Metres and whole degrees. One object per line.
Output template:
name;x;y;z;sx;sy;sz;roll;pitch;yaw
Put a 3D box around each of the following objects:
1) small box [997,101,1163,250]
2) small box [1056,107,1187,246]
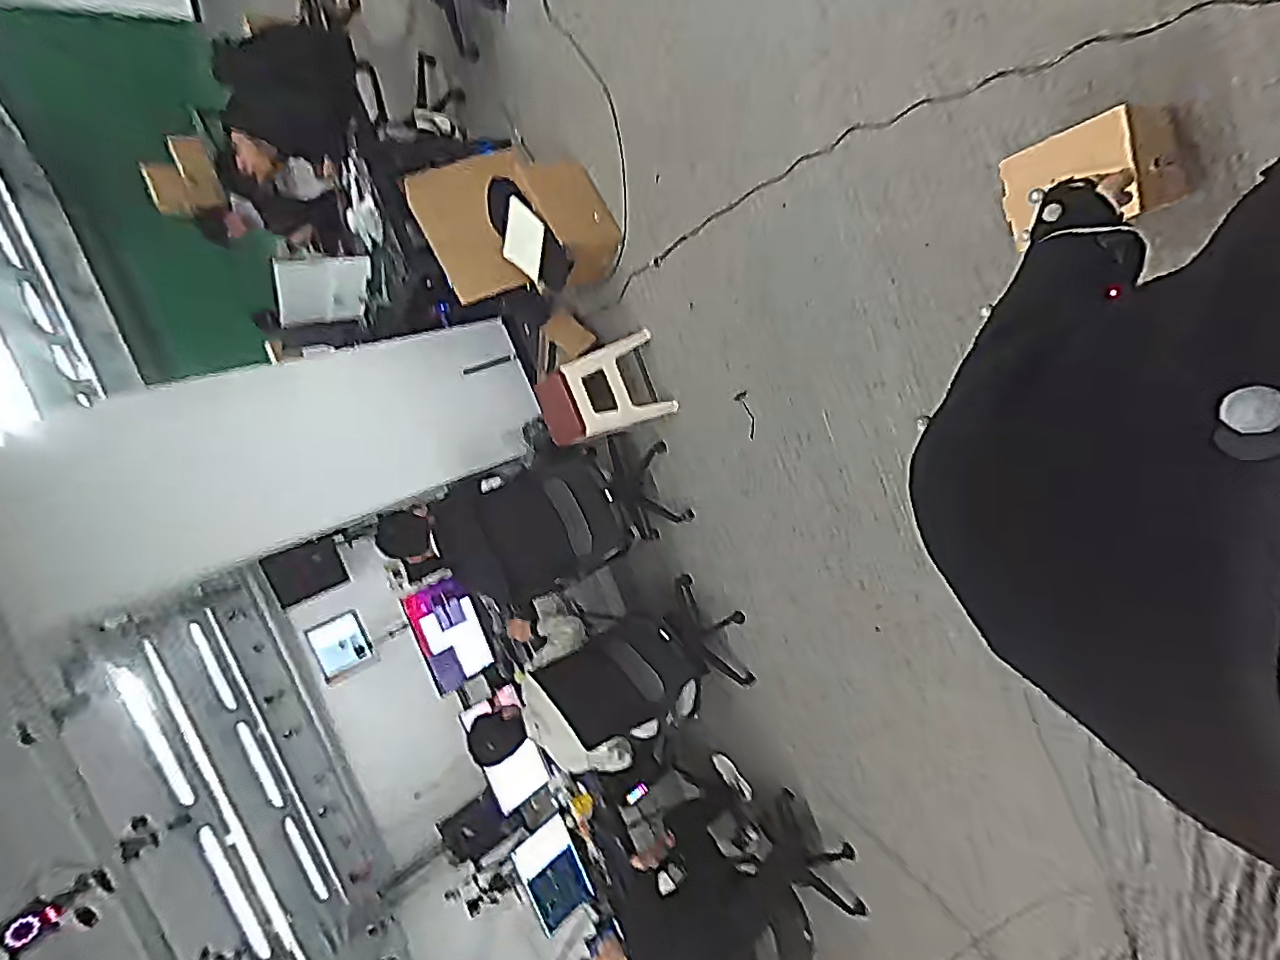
small box;0.767;-0.523;0.943;0.179;0.176;0.168;-5;108;55
small box;0.896;-0.577;1.029;0.168;0.176;0.179;-12;101;57
